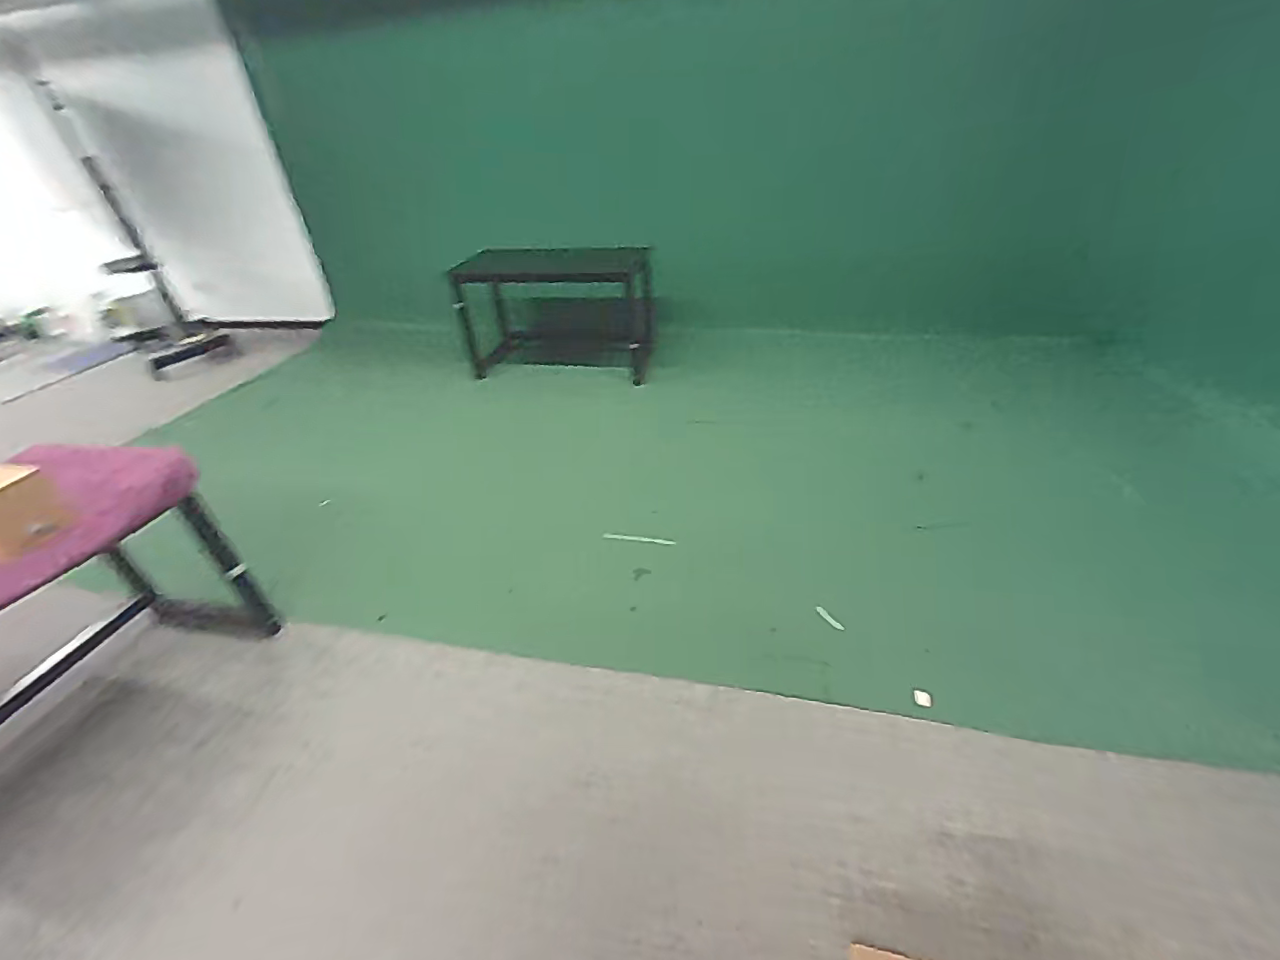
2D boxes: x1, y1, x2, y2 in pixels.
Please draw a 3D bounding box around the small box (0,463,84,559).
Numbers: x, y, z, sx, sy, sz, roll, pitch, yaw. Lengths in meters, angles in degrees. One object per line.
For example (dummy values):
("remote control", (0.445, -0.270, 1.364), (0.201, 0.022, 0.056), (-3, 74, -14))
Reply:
("small box", (-1.561, 0.076, 1.333), (0.179, 0.176, 0.168), (5, 36, 13))
